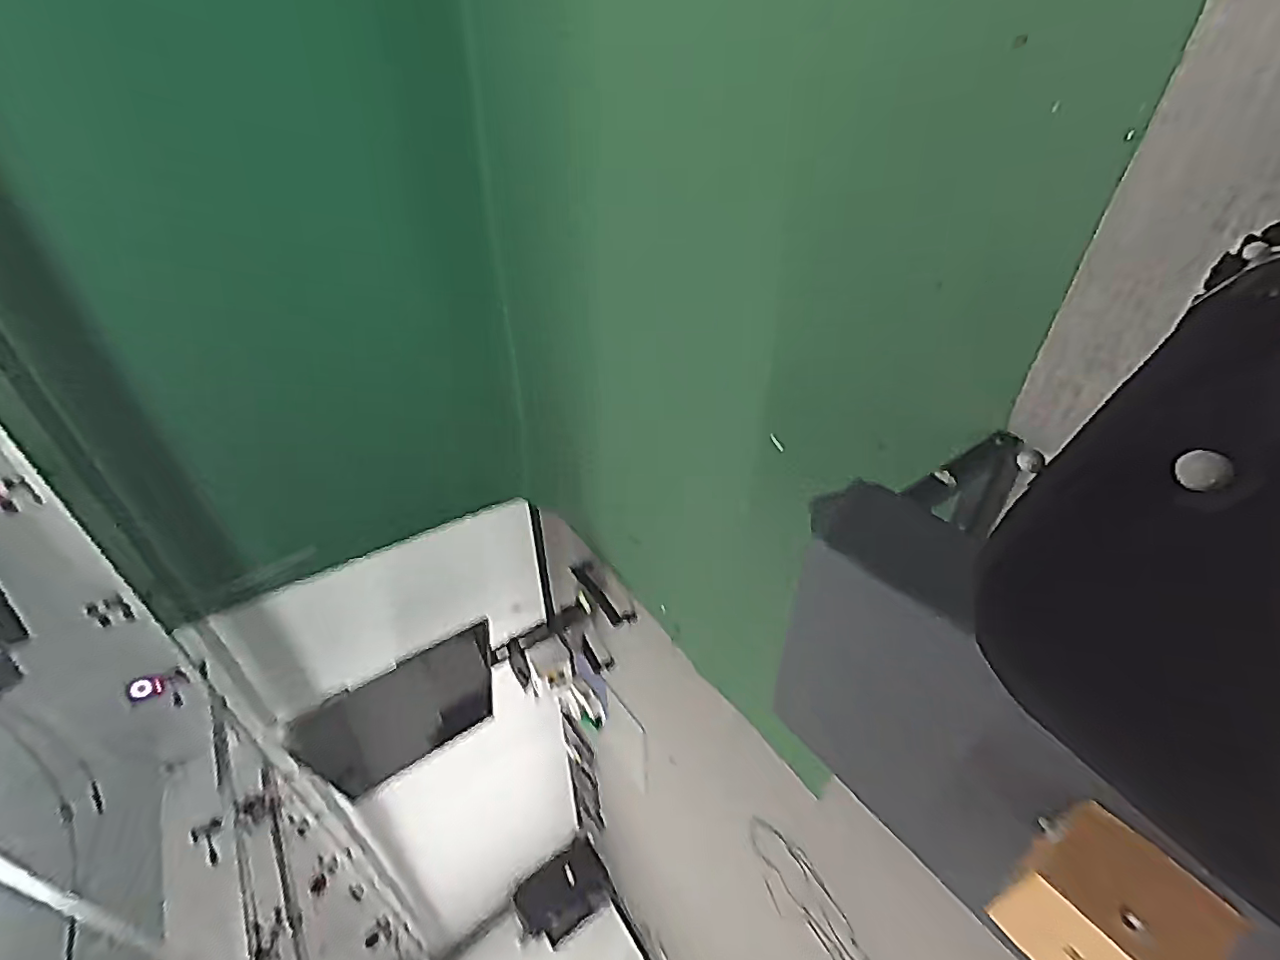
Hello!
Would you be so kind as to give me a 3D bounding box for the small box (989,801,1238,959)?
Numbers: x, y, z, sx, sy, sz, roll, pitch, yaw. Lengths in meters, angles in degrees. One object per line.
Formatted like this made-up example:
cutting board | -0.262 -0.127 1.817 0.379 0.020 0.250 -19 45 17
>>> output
small box | 0.629 0.586 0.728 0.179 0.176 0.168 41 141 41
